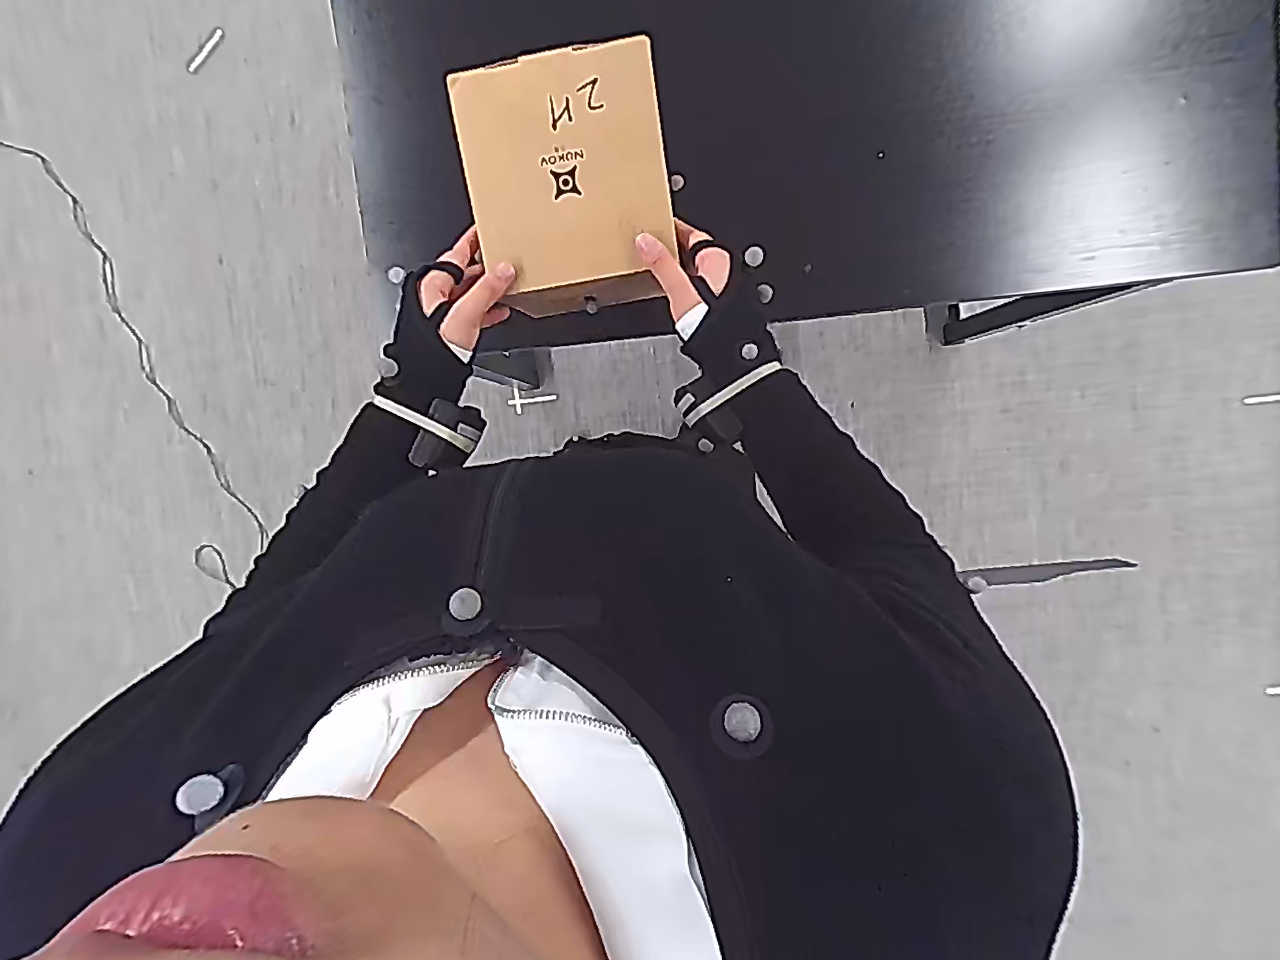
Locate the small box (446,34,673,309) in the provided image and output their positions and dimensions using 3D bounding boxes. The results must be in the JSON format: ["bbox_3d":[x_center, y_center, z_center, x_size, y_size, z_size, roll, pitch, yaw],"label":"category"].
[{"bbox_3d":[-0.059,-0.268,0.521,0.168,0.176,0.179,-9,100,4],"label":"small box"}]
